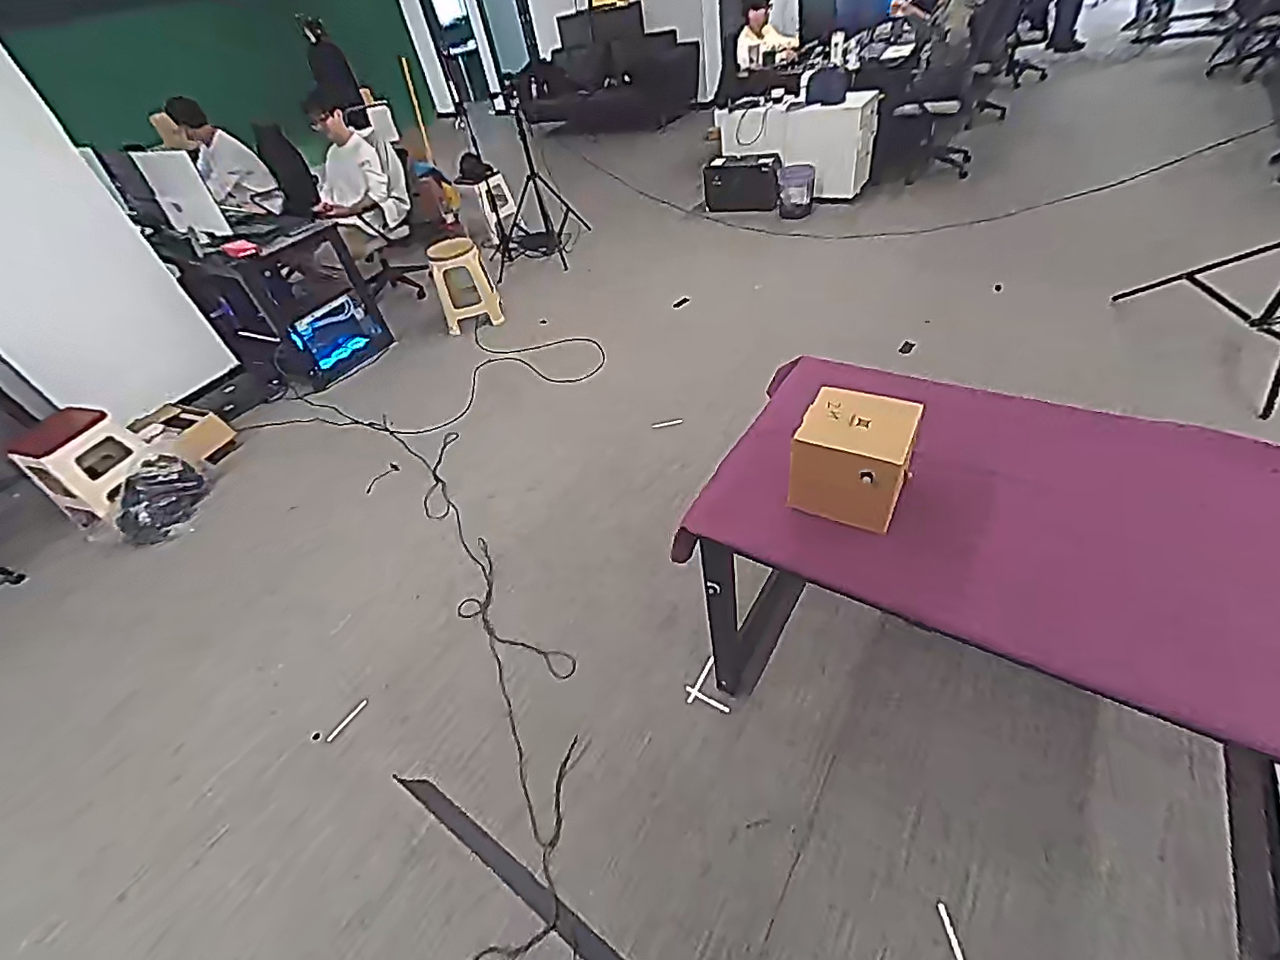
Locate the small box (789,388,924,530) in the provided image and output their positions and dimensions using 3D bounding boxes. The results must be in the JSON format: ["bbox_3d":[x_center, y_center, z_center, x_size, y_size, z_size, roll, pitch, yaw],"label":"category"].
[{"bbox_3d":[0.378,-0.036,0.962,0.179,0.176,0.168,17,49,27],"label":"small box"}]
